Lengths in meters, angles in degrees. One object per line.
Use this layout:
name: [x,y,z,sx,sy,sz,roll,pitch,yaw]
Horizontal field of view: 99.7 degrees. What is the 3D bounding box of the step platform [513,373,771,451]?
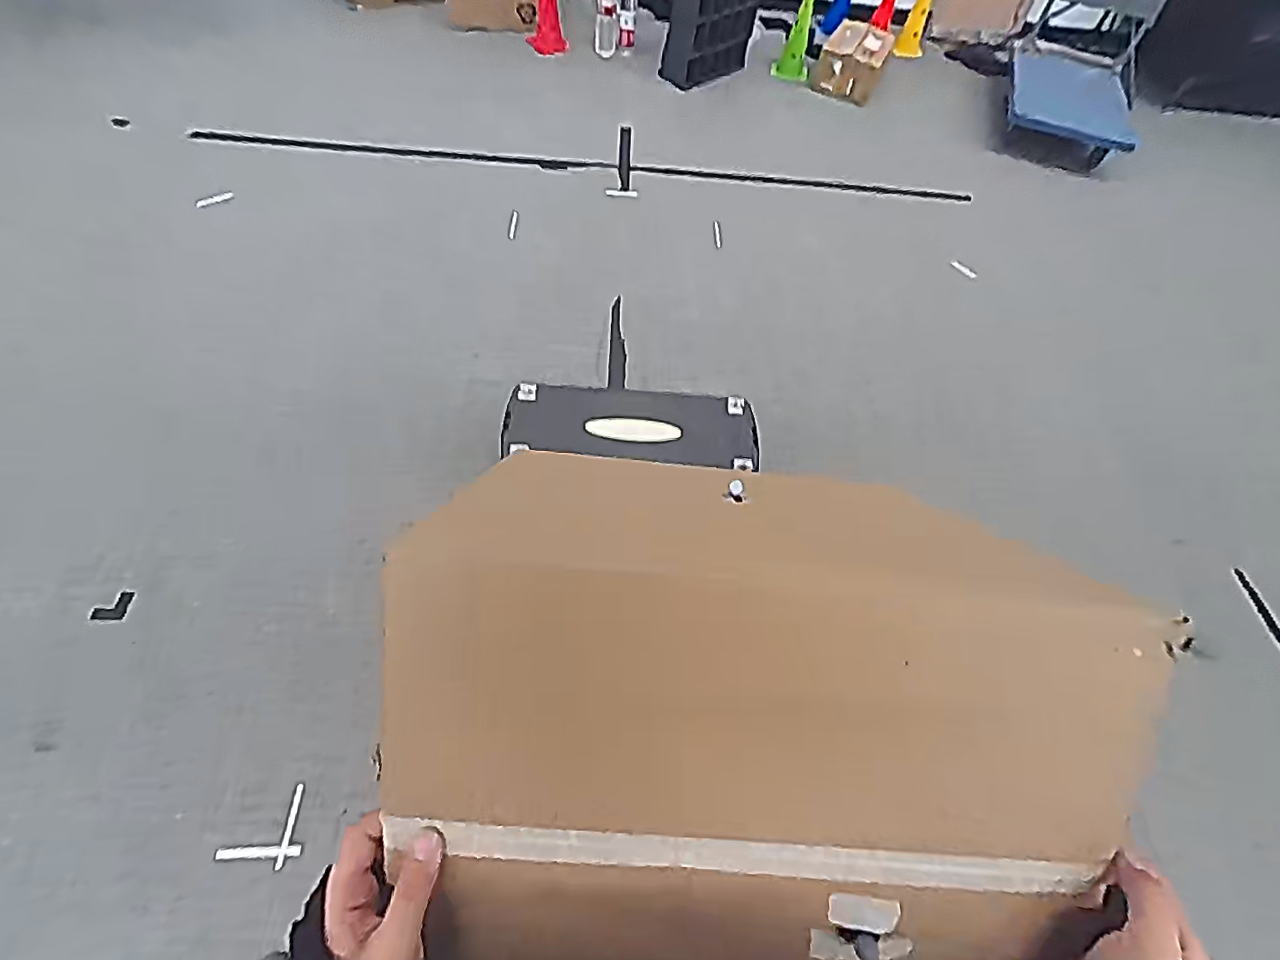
step platform: [0.006,-0.090,1.467,0.684,0.204,0.286,8,58,-2]
